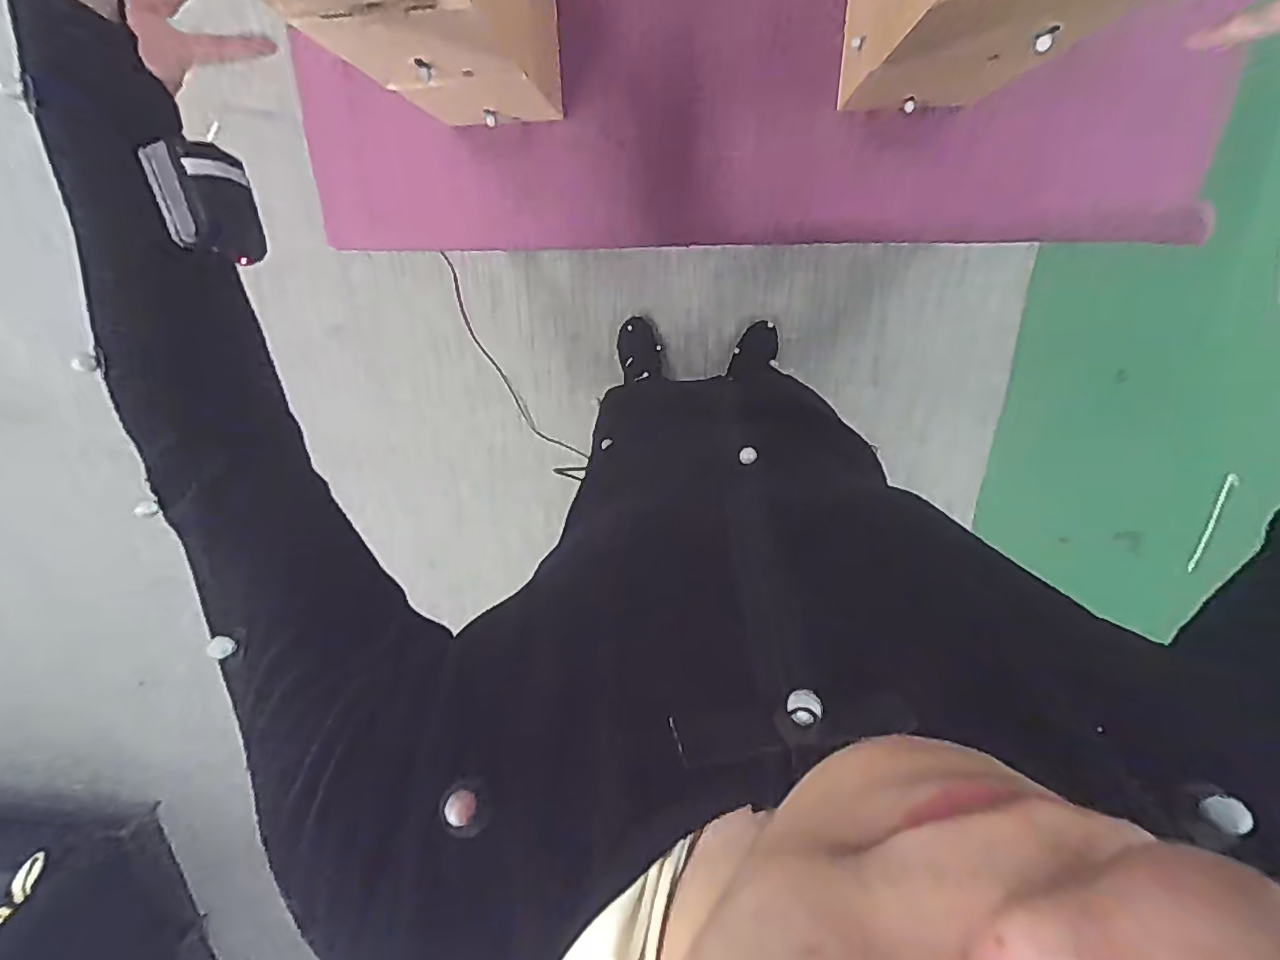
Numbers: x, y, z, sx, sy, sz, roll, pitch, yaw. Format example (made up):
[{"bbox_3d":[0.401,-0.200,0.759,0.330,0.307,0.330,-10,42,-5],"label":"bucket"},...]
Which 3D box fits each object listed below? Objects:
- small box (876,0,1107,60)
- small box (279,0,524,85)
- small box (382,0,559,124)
[{"bbox_3d":[0.306,-0.472,0.441,0.168,0.176,0.179,1,111,6],"label":"small box"},{"bbox_3d":[-0.215,-0.497,0.493,0.168,0.176,0.179,0,111,6],"label":"small box"},{"bbox_3d":[-0.199,-0.551,0.645,0.168,0.176,0.179,1,111,6],"label":"small box"}]
